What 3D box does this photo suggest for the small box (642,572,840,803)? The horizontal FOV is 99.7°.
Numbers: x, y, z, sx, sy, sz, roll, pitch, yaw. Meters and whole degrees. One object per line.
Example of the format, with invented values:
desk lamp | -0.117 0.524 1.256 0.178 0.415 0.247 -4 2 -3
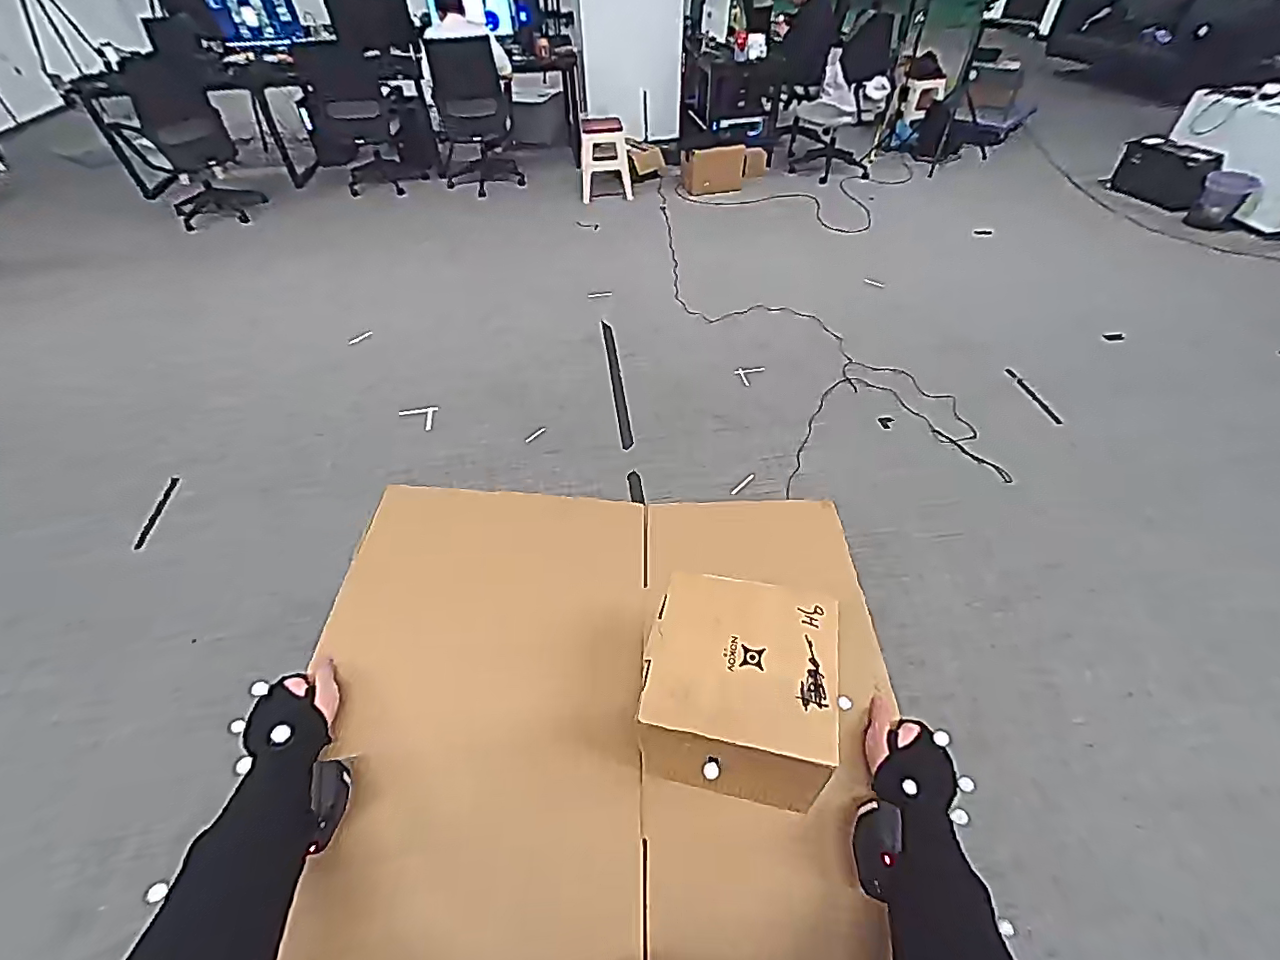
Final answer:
small box | 0.111 0.224 0.582 0.179 0.176 0.168 7 48 13
